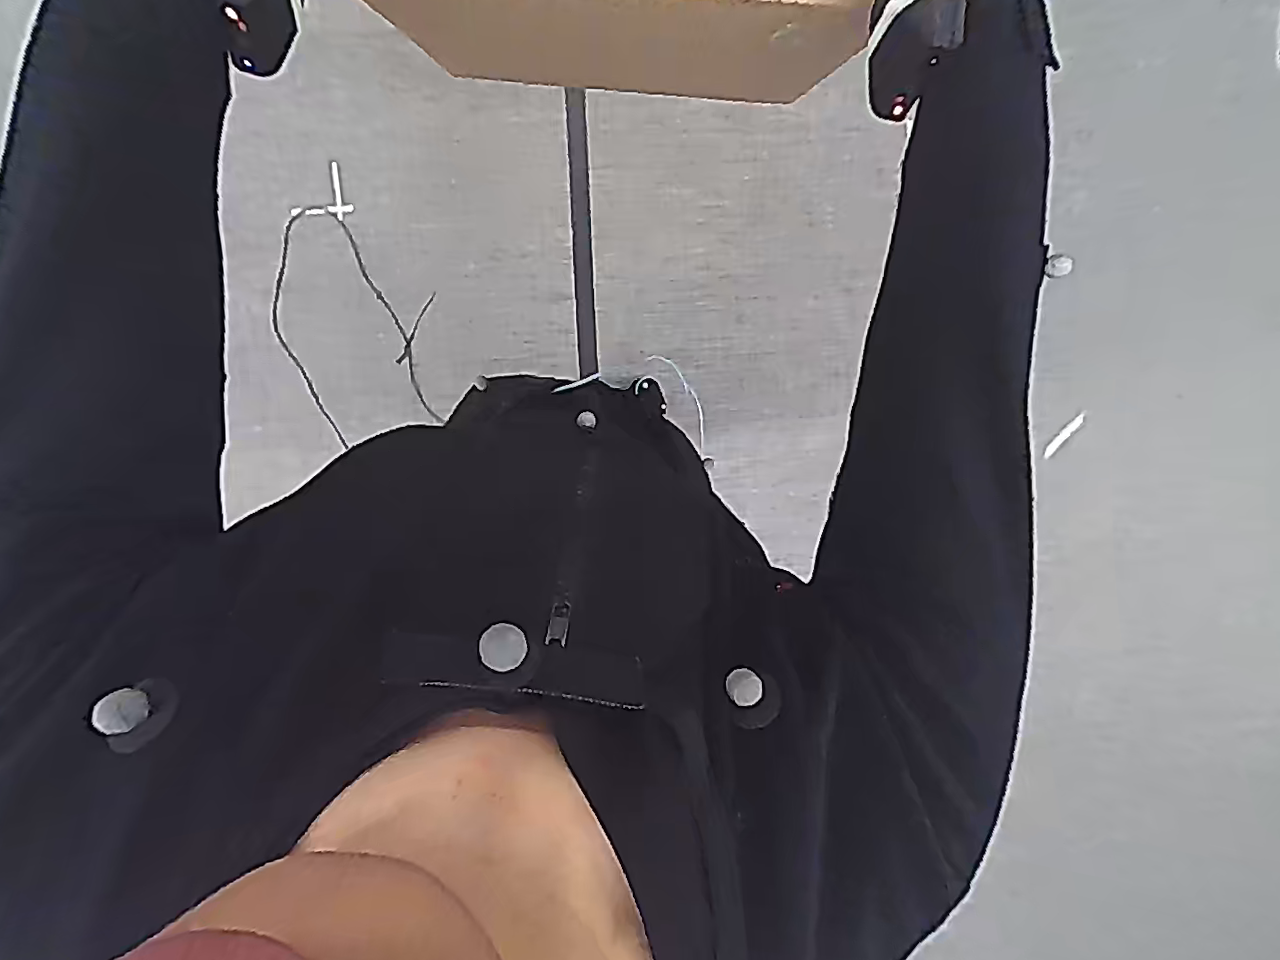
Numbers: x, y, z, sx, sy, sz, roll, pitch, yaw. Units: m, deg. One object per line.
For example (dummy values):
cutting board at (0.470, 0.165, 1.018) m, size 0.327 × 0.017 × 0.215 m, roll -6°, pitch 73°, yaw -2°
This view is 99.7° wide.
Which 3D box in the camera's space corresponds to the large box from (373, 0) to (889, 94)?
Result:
large box at (-0.013, -0.540, 0.440) m, size 0.408 × 0.320 × 0.320 m, roll 2°, pitch 116°, yaw -3°
